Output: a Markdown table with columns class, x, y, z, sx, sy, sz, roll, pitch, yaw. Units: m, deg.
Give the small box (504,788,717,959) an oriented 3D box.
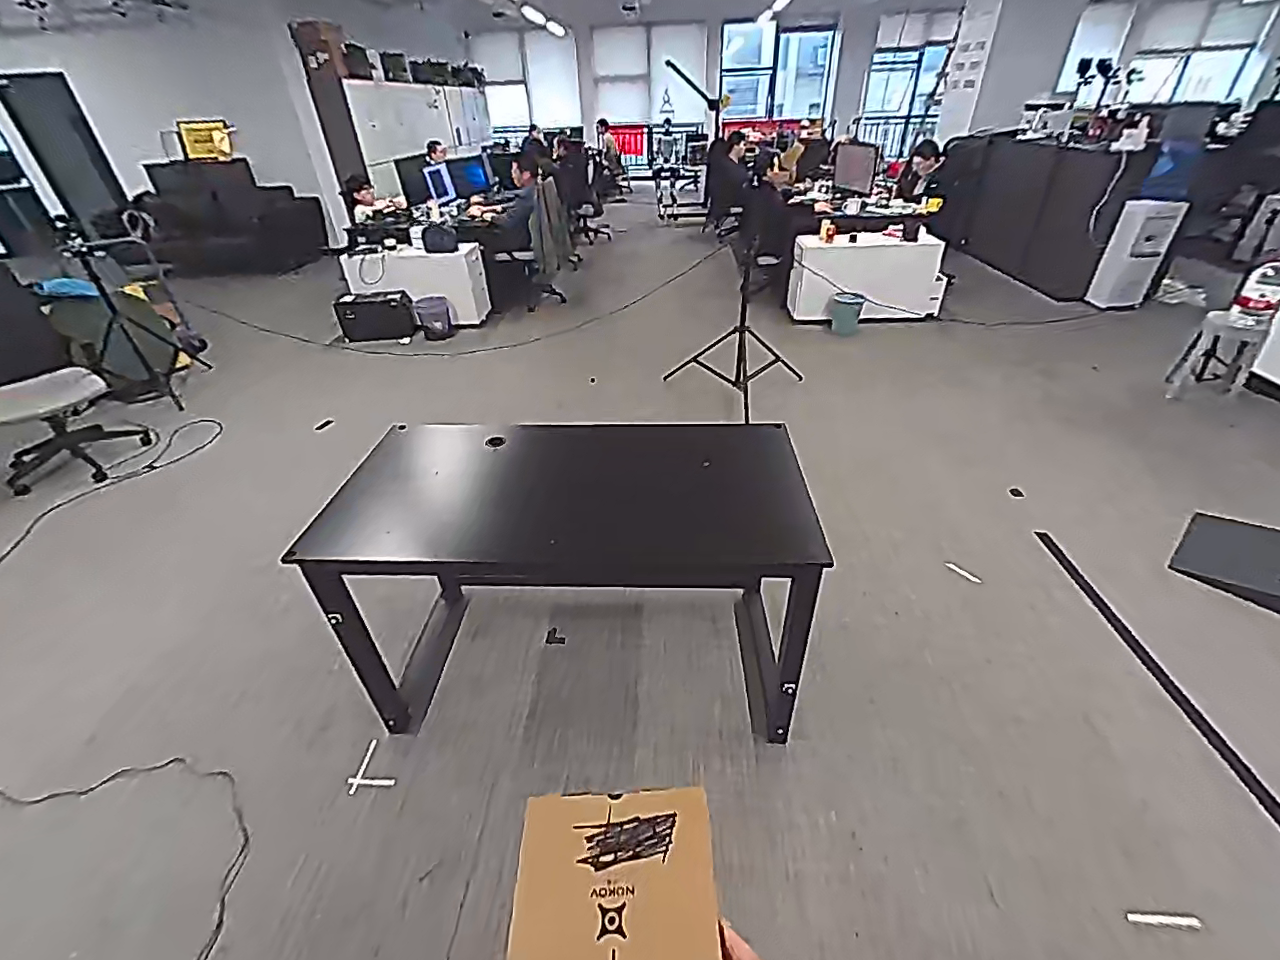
| class | x | y | z | sx | sy | sz | roll | pitch | yaw |
| --- | --- | --- | --- | --- | --- | --- | --- | --- | --- |
| small box | -0.017 | 0.407 | 0.484 | 0.168 | 0.176 | 0.179 | -6 | 38 | 3 |
